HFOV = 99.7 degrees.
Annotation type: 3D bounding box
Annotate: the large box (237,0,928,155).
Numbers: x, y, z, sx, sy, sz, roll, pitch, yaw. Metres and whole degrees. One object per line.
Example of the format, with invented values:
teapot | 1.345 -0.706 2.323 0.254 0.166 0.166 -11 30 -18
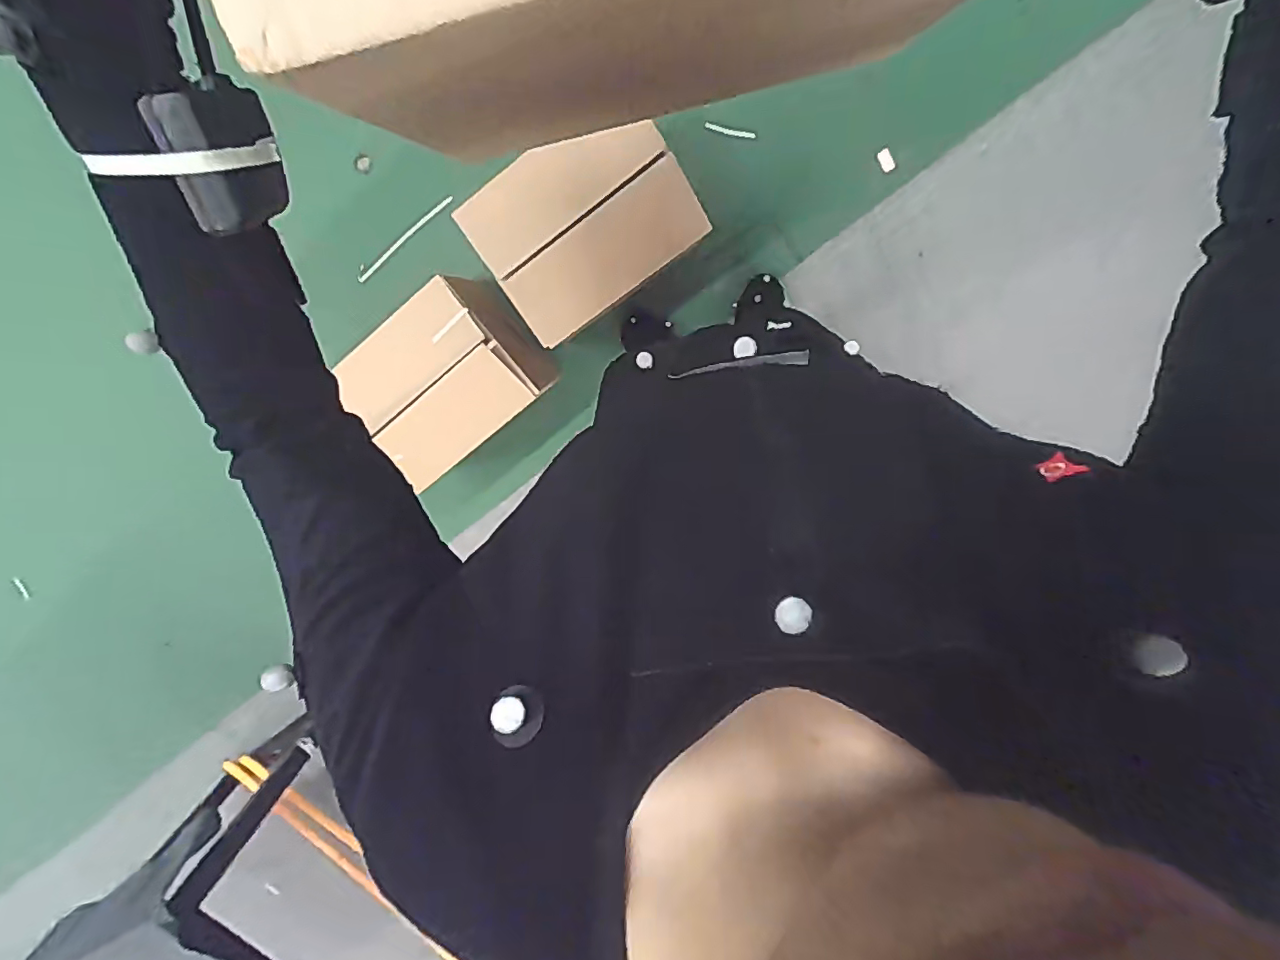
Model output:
large box | -0.009 -0.418 0.292 0.408 0.320 0.320 -12 114 4
